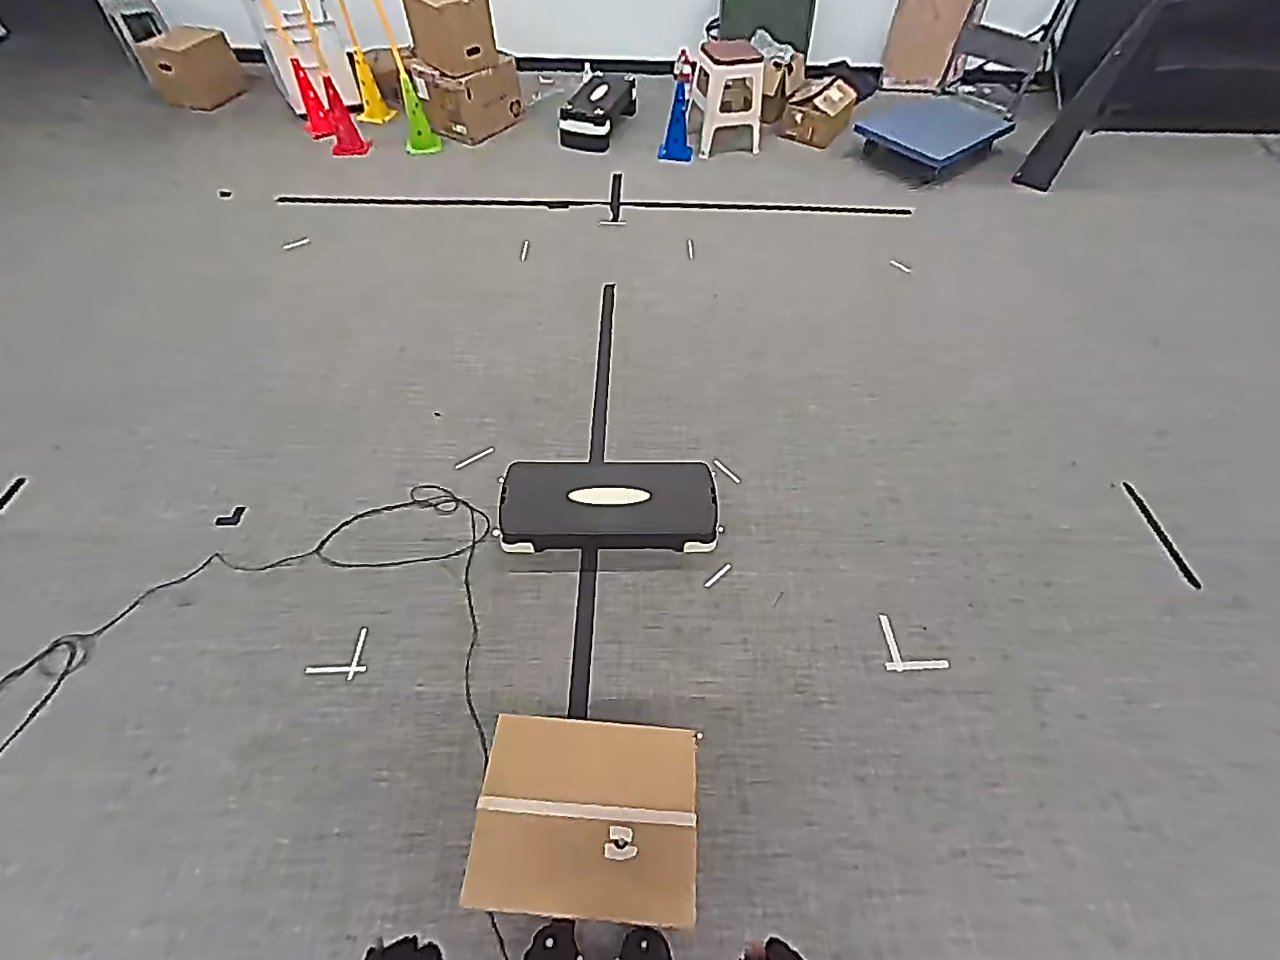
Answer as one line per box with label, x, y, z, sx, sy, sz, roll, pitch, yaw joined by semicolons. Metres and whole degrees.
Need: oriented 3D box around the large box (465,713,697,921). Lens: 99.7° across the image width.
large box;-0.102;0.700;1.122;0.408;0.320;0.320;5;53;0
